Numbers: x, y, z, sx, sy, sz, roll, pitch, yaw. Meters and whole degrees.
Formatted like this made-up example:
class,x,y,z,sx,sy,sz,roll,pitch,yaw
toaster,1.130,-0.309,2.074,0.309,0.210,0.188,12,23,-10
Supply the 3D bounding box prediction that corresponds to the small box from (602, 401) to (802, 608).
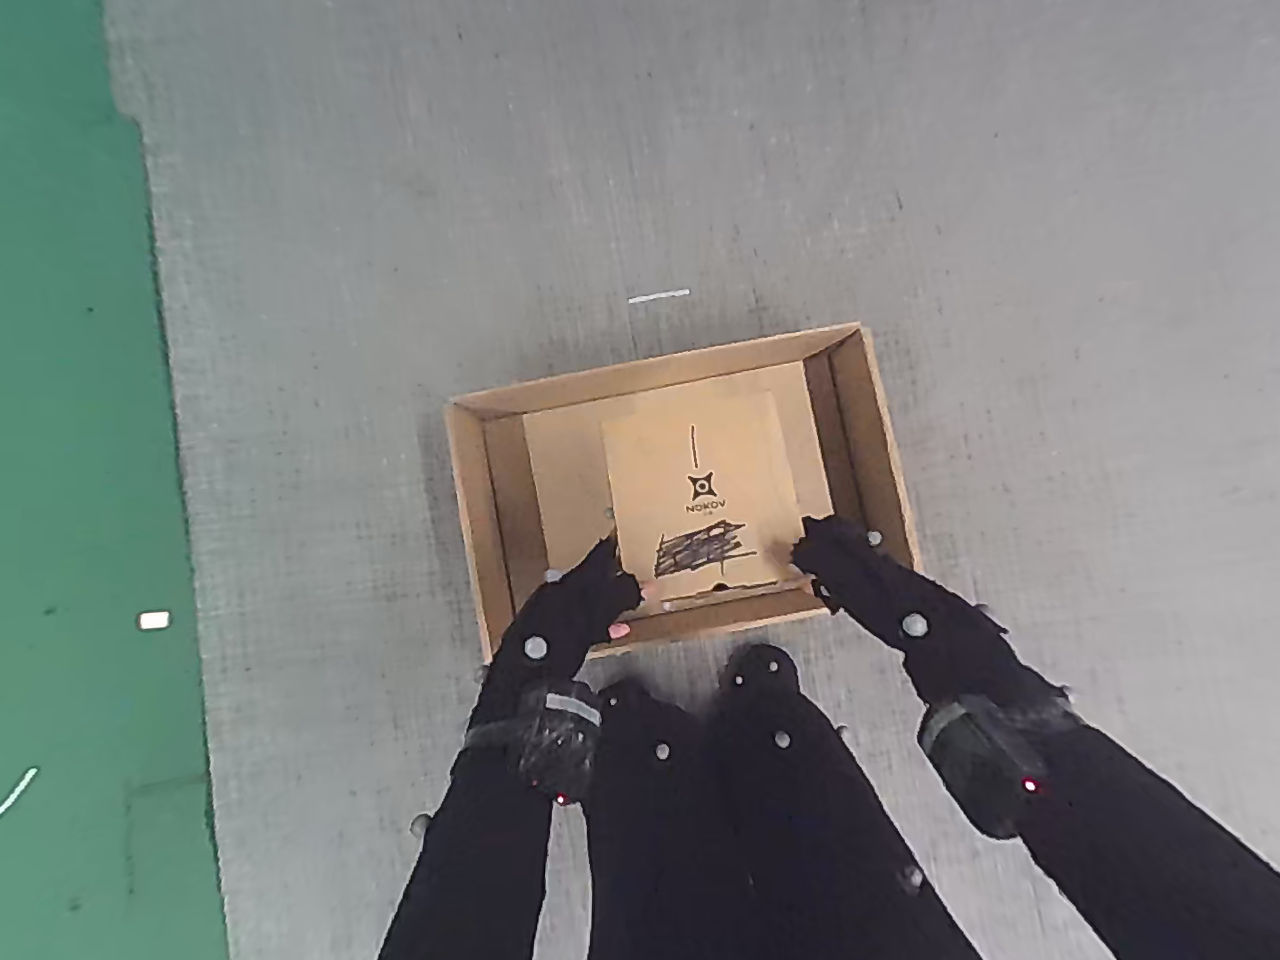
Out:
class,x,y,z,sx,sy,sz,roll,pitch,yaw
small box,0.061,0.034,0.583,0.168,0.176,0.179,-10,79,2
